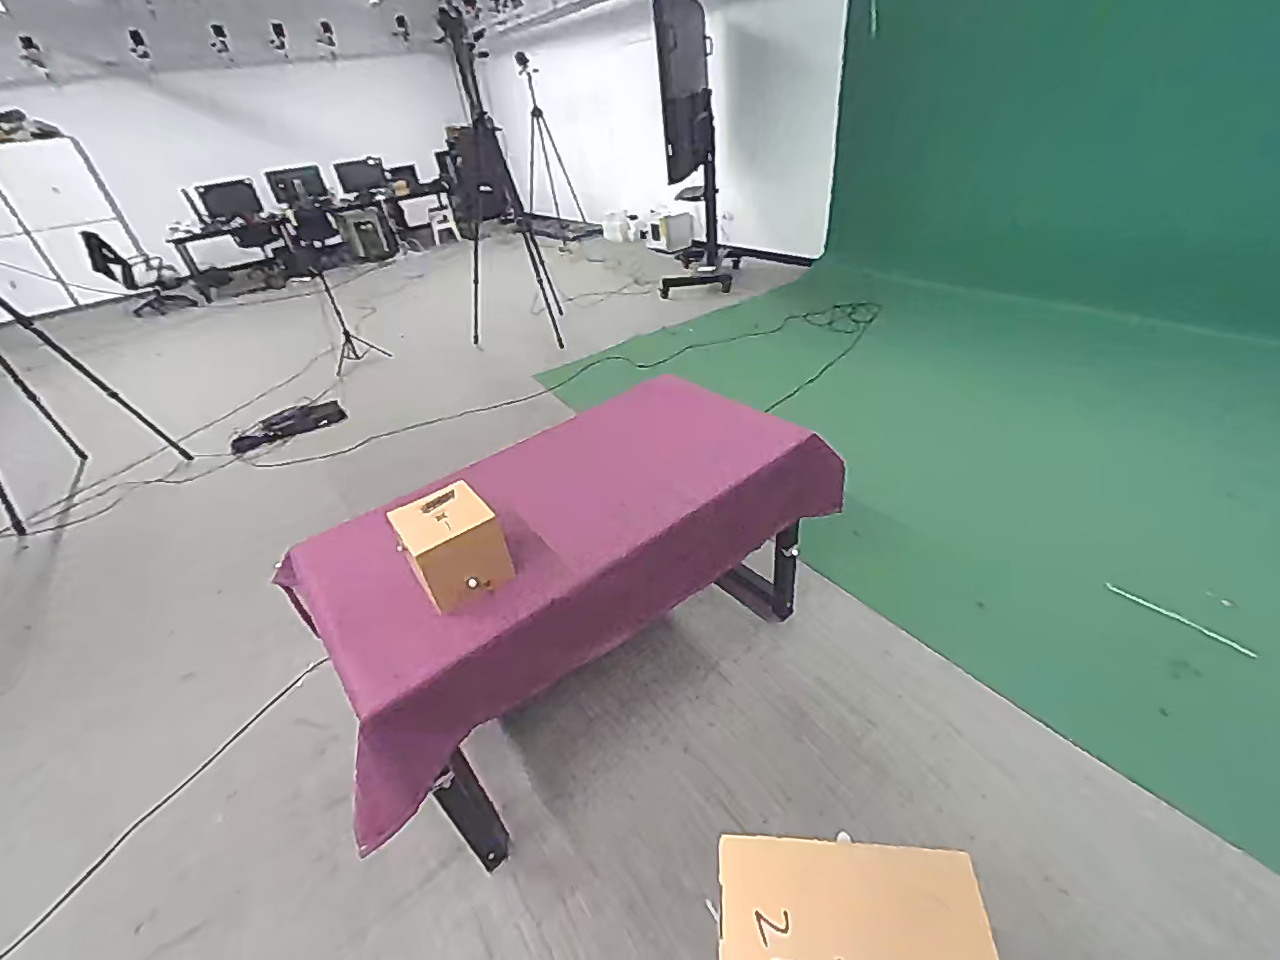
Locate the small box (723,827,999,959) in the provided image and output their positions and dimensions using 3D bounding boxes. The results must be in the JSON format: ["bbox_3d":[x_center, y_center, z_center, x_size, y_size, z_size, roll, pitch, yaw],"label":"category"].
[{"bbox_3d":[0.152,0.376,0.398,0.179,0.176,0.168,-3,45,10],"label":"small box"}]

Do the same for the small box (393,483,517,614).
[{"bbox_3d":[-0.377,0.139,1.113,0.168,0.176,0.179,-29,41,-26],"label":"small box"}]
